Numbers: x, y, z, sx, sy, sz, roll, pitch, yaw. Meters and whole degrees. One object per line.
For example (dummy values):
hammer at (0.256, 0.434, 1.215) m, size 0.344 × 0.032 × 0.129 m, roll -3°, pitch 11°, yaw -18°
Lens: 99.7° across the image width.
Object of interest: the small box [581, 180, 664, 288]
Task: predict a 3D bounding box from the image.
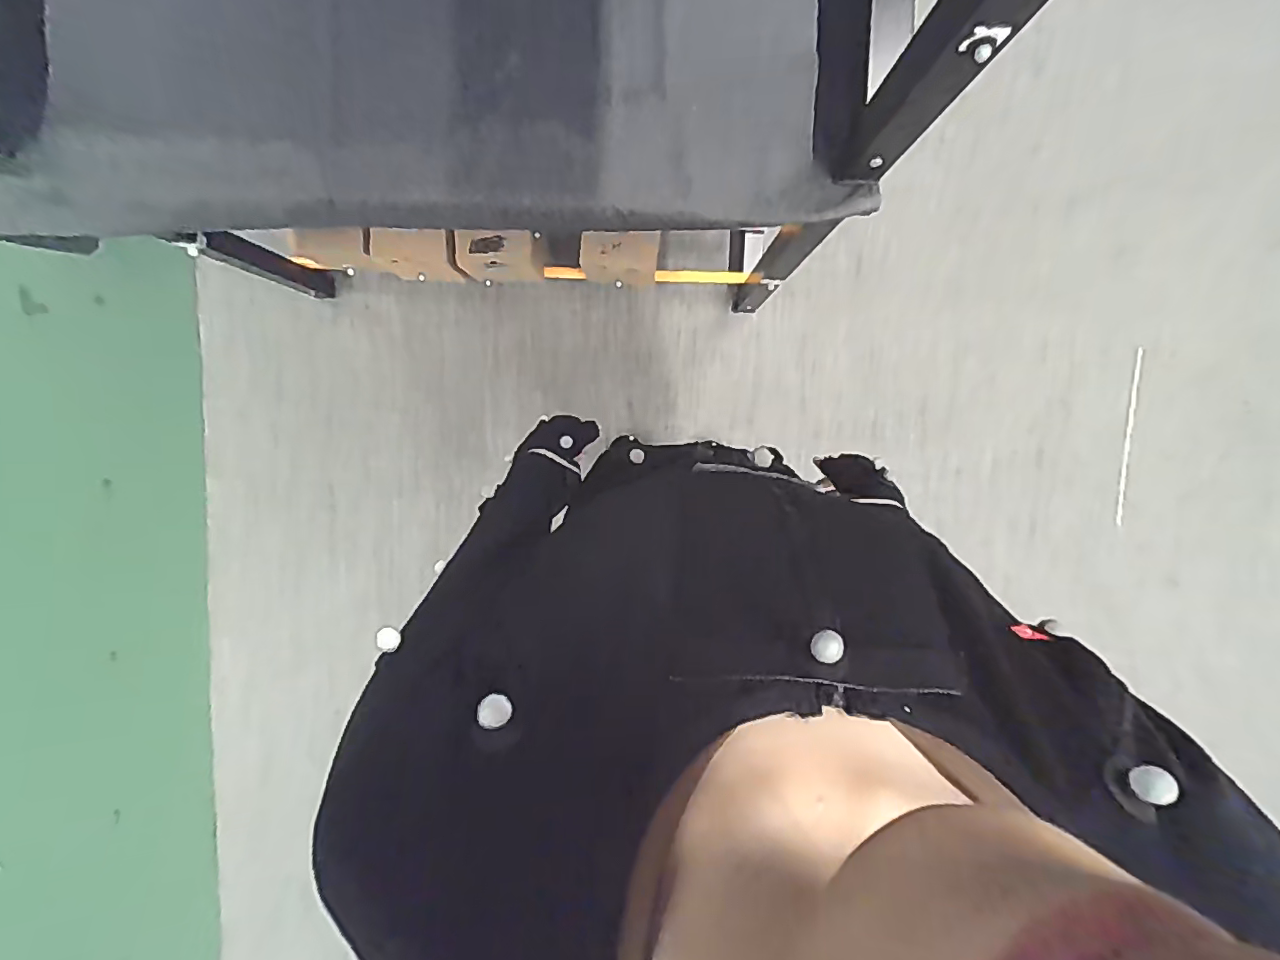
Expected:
small box at (-0.038, -0.560, 1.249) m, size 0.168 × 0.176 × 0.179 m, roll 7°, pitch 98°, yaw 1°
